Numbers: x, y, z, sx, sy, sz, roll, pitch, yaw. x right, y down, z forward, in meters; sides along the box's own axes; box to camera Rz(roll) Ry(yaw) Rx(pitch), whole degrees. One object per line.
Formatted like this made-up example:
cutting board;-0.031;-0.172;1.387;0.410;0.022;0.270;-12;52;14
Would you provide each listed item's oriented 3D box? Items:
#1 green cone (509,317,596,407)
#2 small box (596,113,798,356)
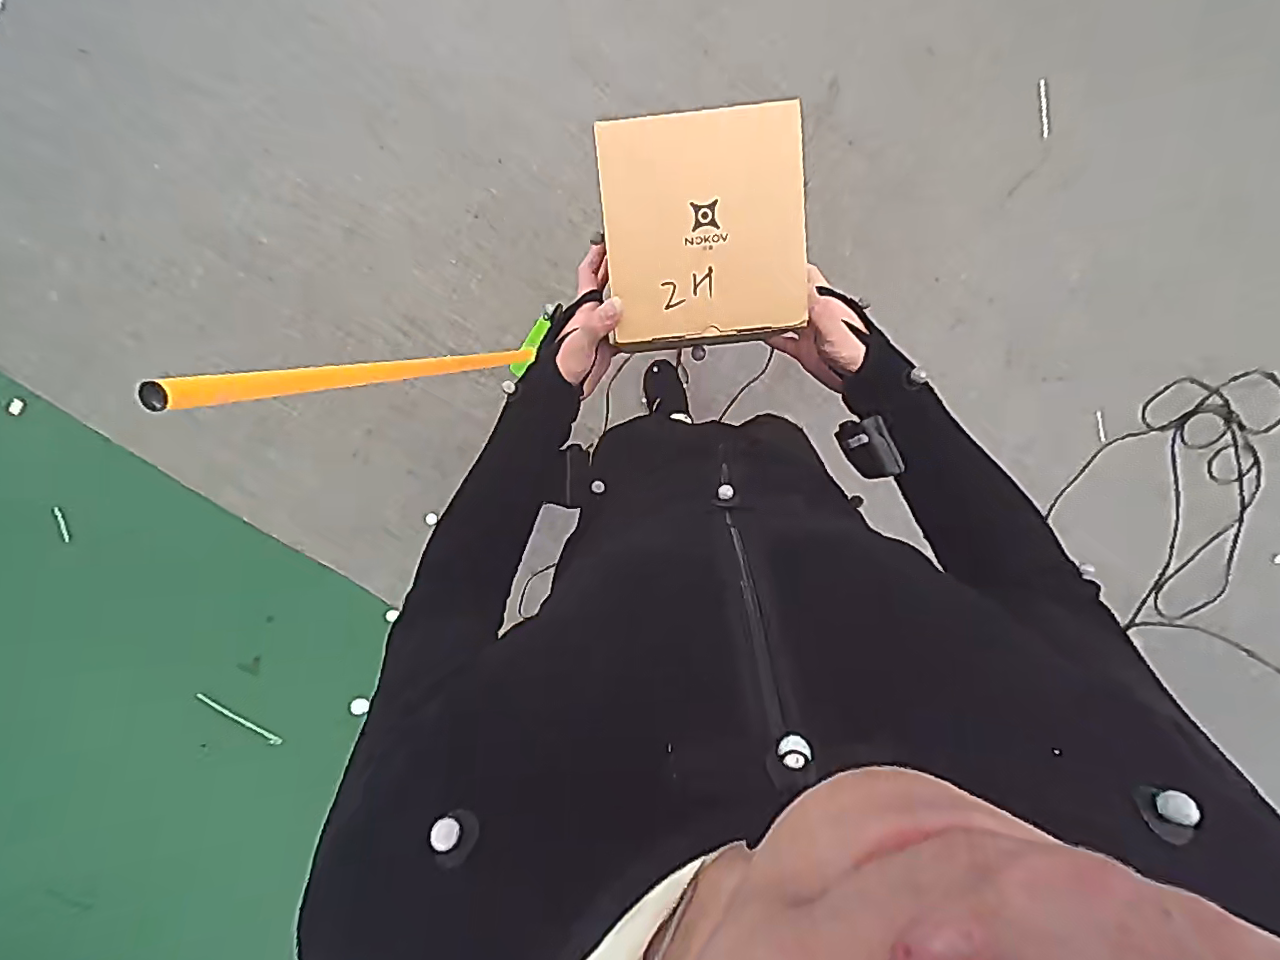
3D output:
green cone;-0.255;-0.305;1.398;0.202;0.368;0.200;34;100;-7
small box;0.050;-0.221;0.533;0.168;0.176;0.179;-5;101;2
